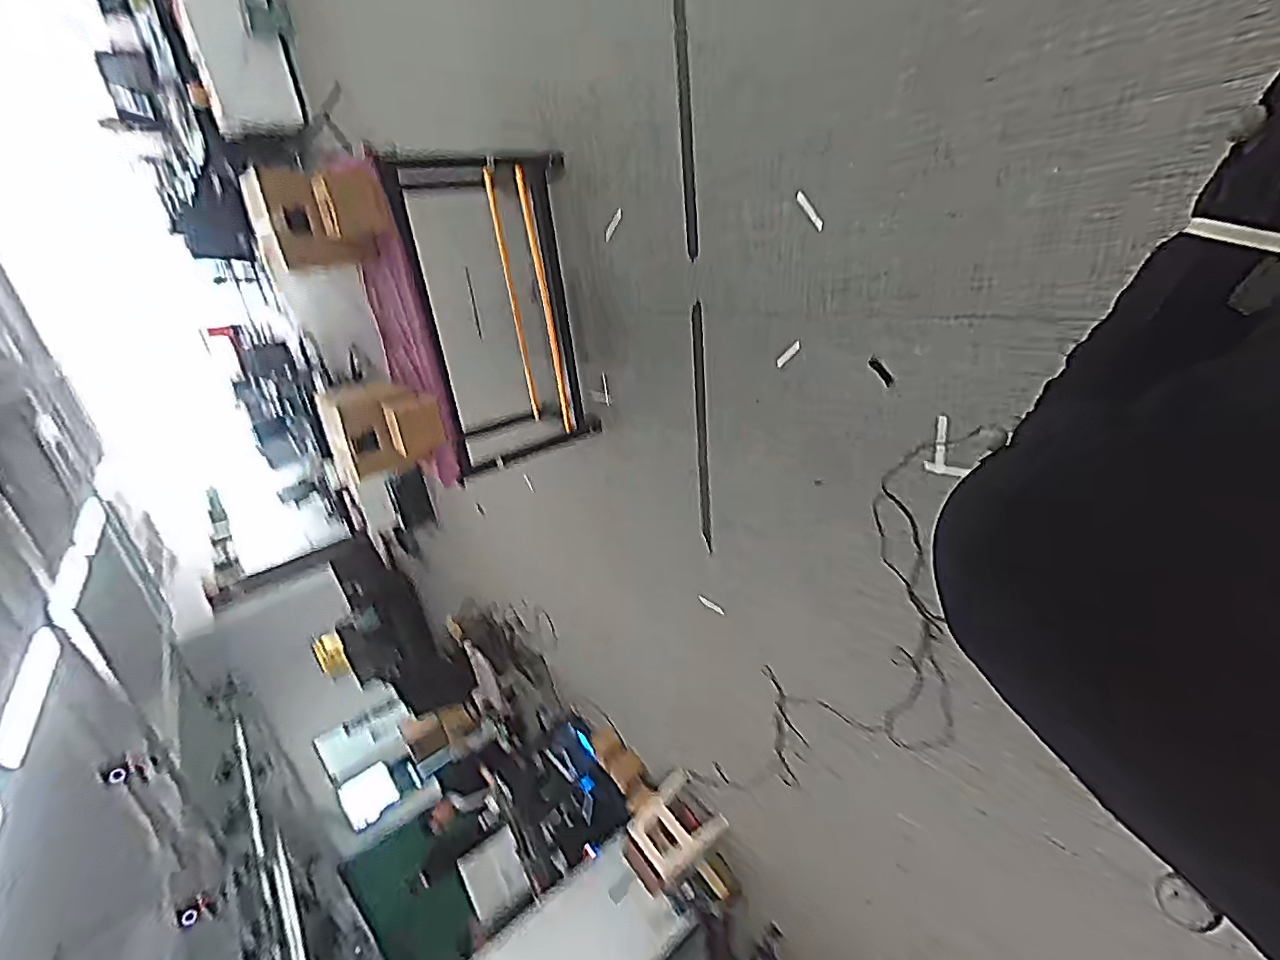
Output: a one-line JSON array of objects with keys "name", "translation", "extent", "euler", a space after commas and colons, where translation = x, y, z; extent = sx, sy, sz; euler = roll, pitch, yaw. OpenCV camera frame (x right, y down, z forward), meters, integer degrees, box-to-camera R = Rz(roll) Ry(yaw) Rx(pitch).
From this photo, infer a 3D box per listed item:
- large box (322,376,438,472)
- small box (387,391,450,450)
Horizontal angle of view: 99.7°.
[{"name": "large box", "translation": [-1.138, -0.261, 2.370], "extent": [0.408, 0.320, 0.320], "euler": [20, 125, 45]}, {"name": "small box", "translation": [-0.870, -0.241, 2.136], "extent": [0.168, 0.176, 0.179], "euler": [22, 126, 49]}]
